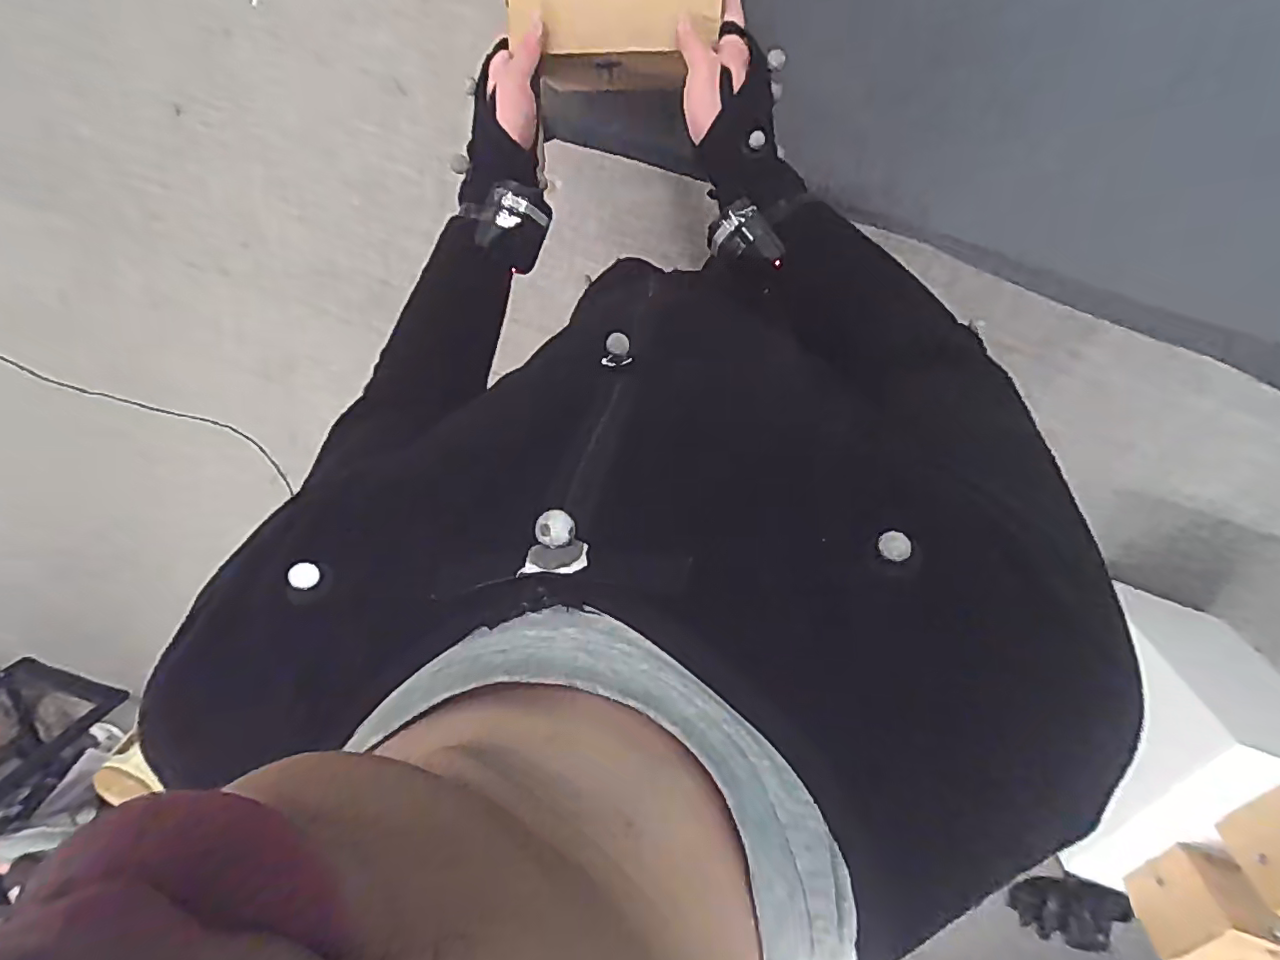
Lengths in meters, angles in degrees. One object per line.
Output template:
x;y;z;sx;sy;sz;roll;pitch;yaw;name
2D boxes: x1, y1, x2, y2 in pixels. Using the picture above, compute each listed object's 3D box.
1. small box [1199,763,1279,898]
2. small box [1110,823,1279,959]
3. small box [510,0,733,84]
1.282;0.702;1.066;0.168;0.176;0.179;20;119;-2;small box
1.197;0.902;1.189;0.168;0.176;0.179;21;120;-1;small box
-0.006;-0.453;0.463;0.179;0.176;0.168;3;118;4;small box
